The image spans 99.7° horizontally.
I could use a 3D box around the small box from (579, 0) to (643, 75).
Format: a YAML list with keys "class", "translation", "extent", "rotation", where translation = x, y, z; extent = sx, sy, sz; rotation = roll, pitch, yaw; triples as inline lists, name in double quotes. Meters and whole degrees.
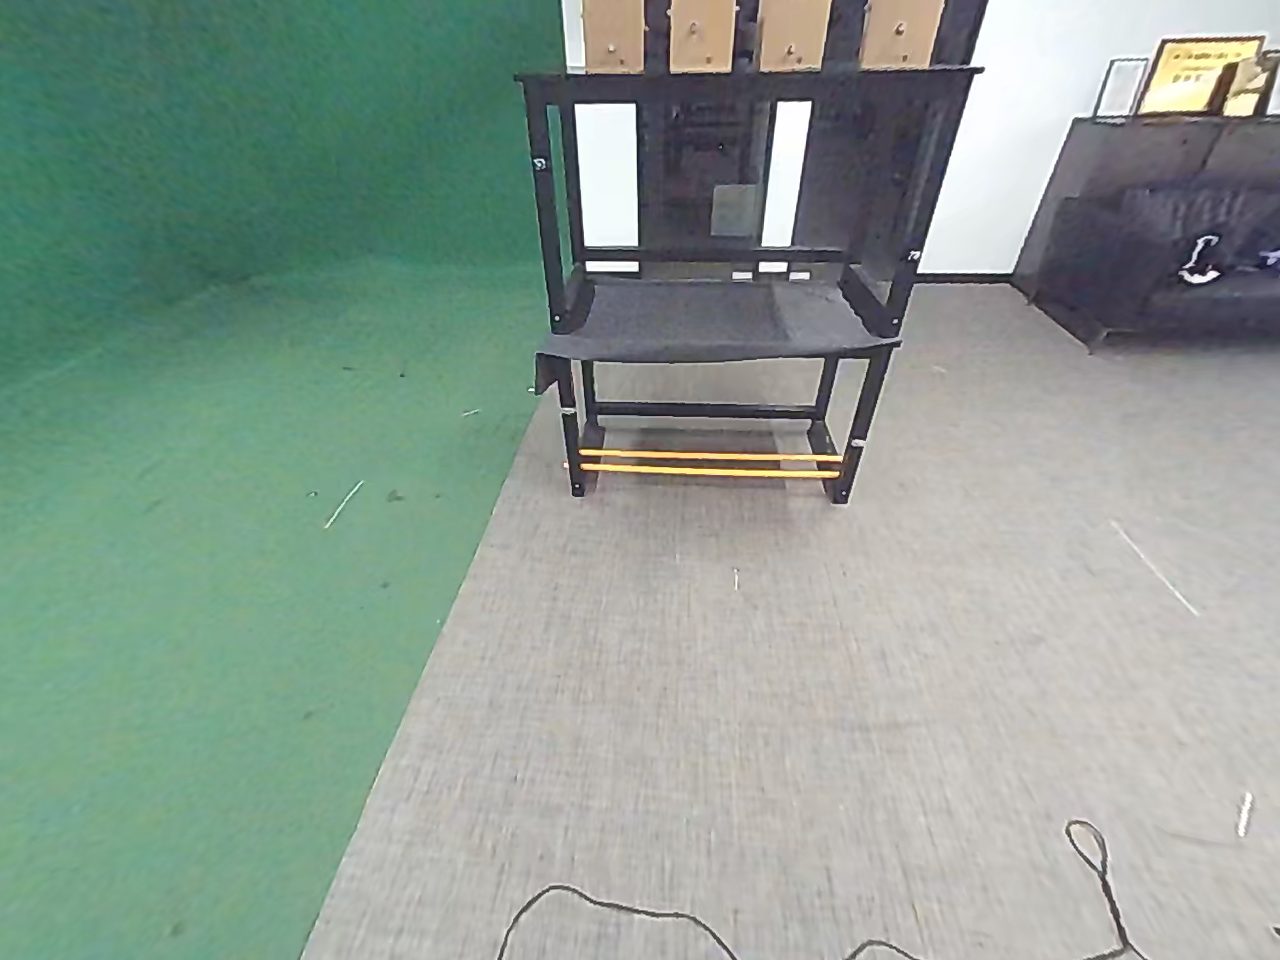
- class: "small box"
  translation: [-0.077, -1.254, 1.524]
  extent: [0.168, 0.176, 0.179]
  rotation: [-1, 39, 1]

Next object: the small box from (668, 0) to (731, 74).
- class: "small box"
  translation: [0.166, -1.234, 1.493]
  extent: [0.168, 0.176, 0.179]
  rotation: [3, 38, 5]

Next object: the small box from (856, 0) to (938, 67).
- class: "small box"
  translation: [0.677, -1.204, 1.430]
  extent: [0.168, 0.176, 0.179]
  rotation: [8, 39, 11]
